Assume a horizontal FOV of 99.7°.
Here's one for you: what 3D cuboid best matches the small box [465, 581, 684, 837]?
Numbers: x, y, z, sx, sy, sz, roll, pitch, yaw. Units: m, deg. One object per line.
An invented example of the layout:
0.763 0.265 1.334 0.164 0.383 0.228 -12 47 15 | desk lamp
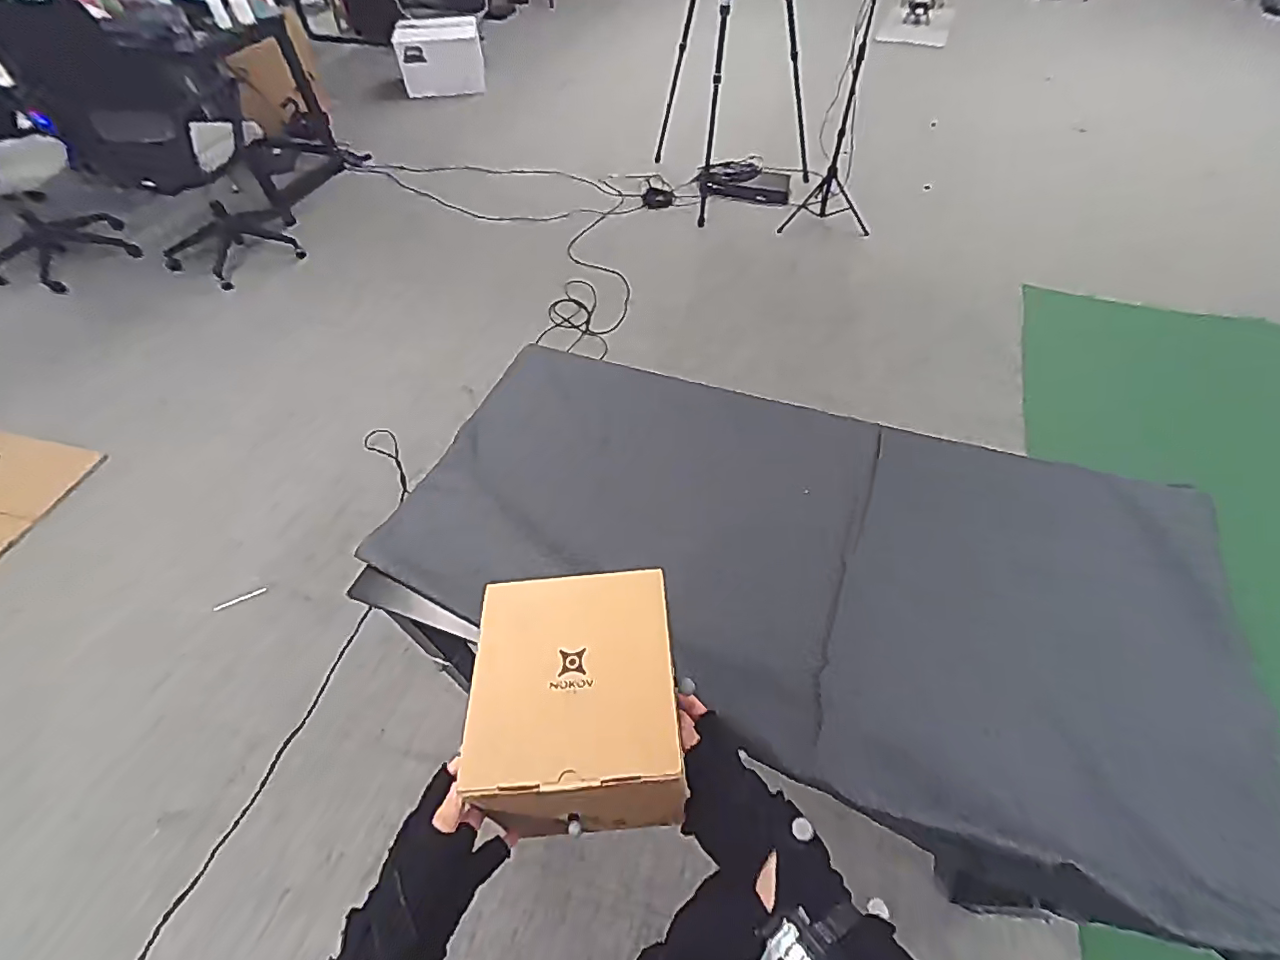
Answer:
-0.050 0.219 0.515 0.168 0.176 0.179 -5 49 0 | small box
